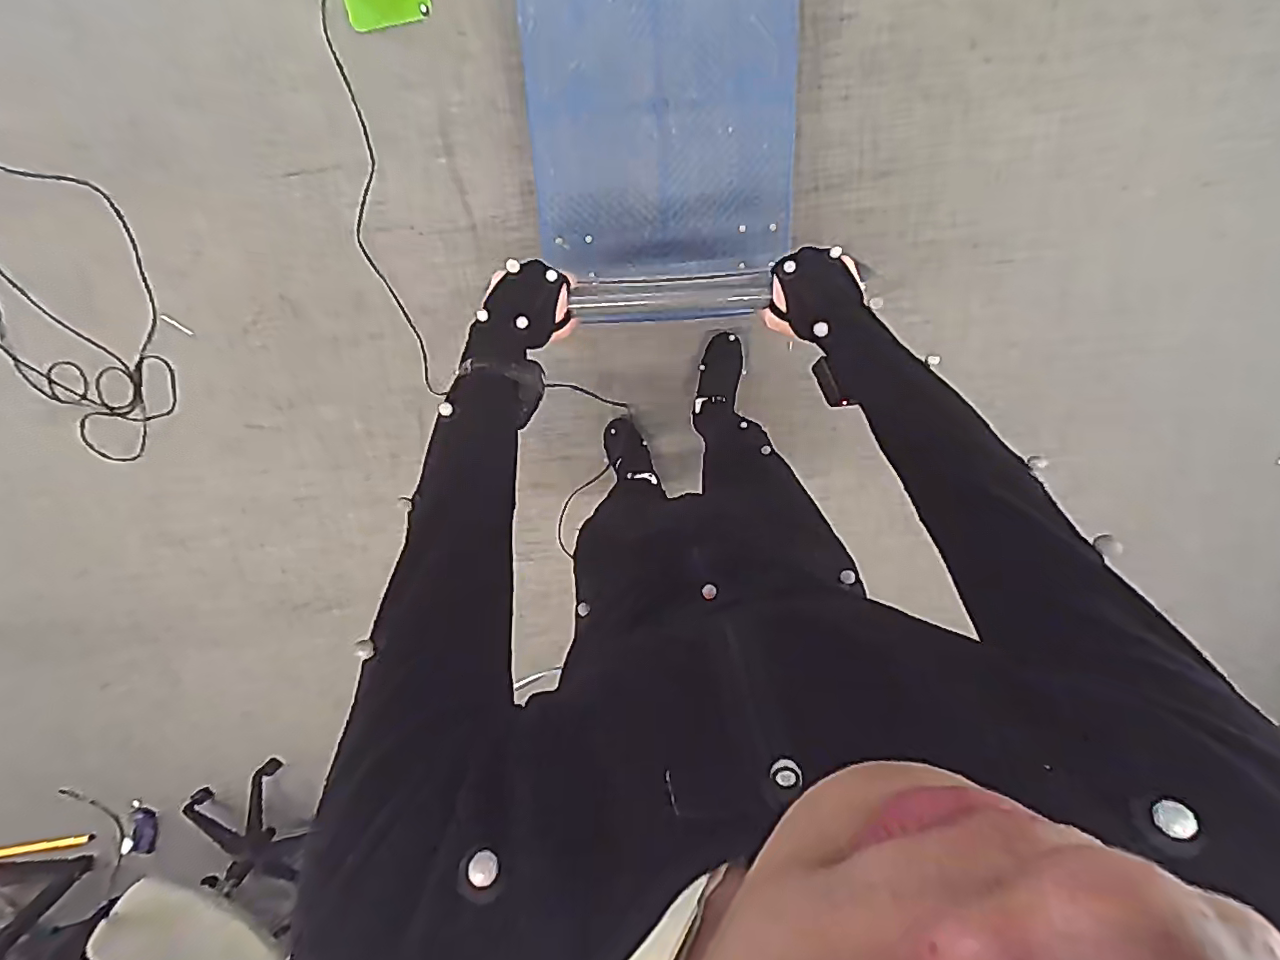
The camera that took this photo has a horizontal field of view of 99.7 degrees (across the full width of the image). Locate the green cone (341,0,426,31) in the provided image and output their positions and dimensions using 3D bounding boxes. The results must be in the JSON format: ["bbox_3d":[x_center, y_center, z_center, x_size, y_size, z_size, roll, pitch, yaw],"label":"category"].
[{"bbox_3d":[-0.612,-1.103,1.065,0.202,0.368,0.200,-7,108,7],"label":"green cone"}]
